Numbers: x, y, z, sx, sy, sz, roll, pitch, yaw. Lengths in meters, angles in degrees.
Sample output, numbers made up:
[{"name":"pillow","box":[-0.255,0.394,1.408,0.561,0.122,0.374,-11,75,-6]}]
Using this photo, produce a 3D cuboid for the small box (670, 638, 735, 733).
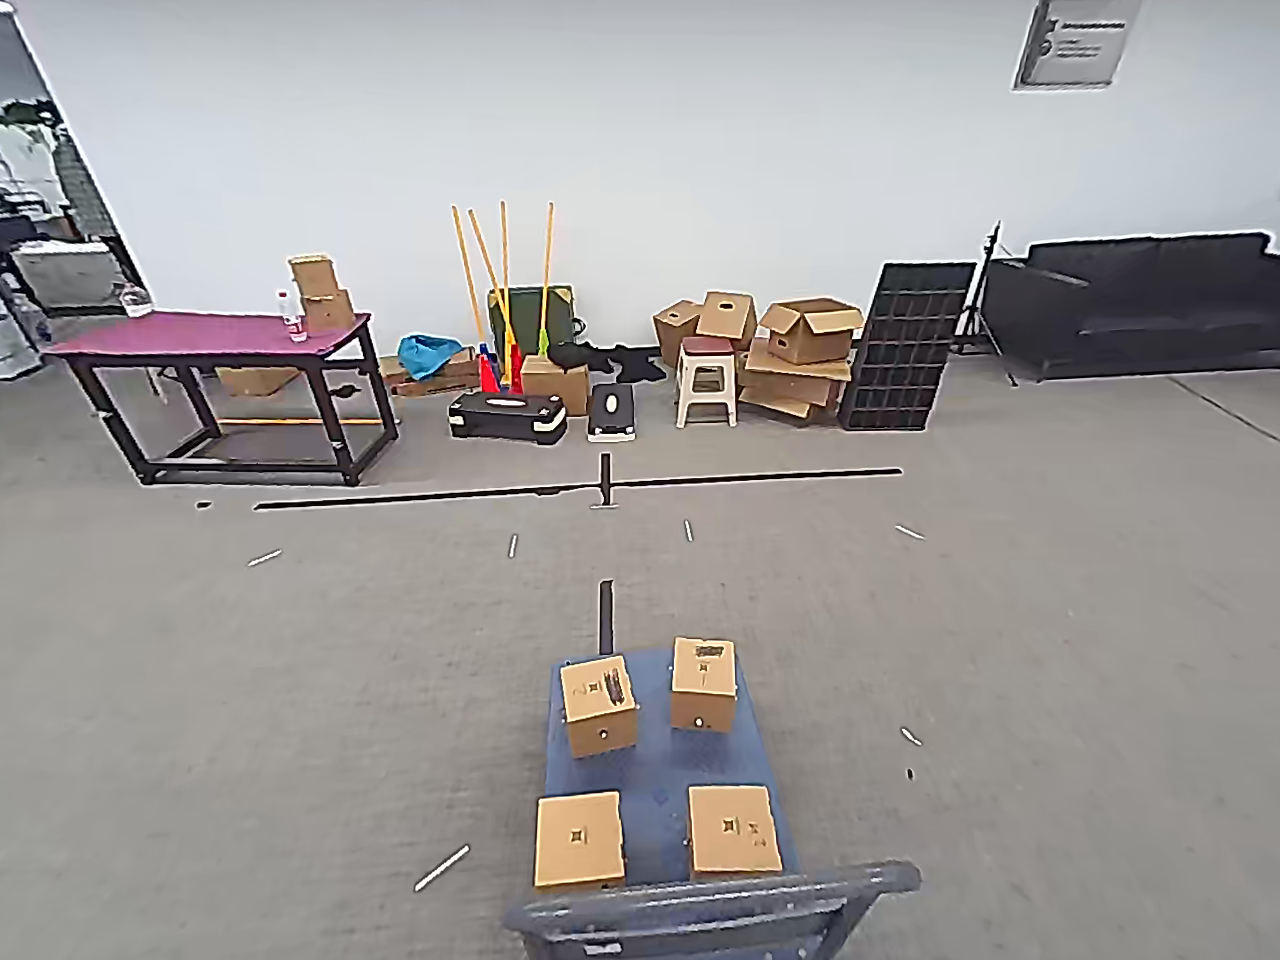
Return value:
[{"name":"small box","box":[0.172,0.567,1.497,0.168,0.176,0.179,3,34,6]}]

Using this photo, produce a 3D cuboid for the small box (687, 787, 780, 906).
[{"name":"small box","box":[0.191,0.787,1.161,0.179,0.176,0.168,0,34,1]}]

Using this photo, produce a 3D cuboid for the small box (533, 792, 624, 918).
[{"name":"small box","box":[-0.127,0.798,1.150,0.179,0.176,0.168,-2,33,-6]}]
